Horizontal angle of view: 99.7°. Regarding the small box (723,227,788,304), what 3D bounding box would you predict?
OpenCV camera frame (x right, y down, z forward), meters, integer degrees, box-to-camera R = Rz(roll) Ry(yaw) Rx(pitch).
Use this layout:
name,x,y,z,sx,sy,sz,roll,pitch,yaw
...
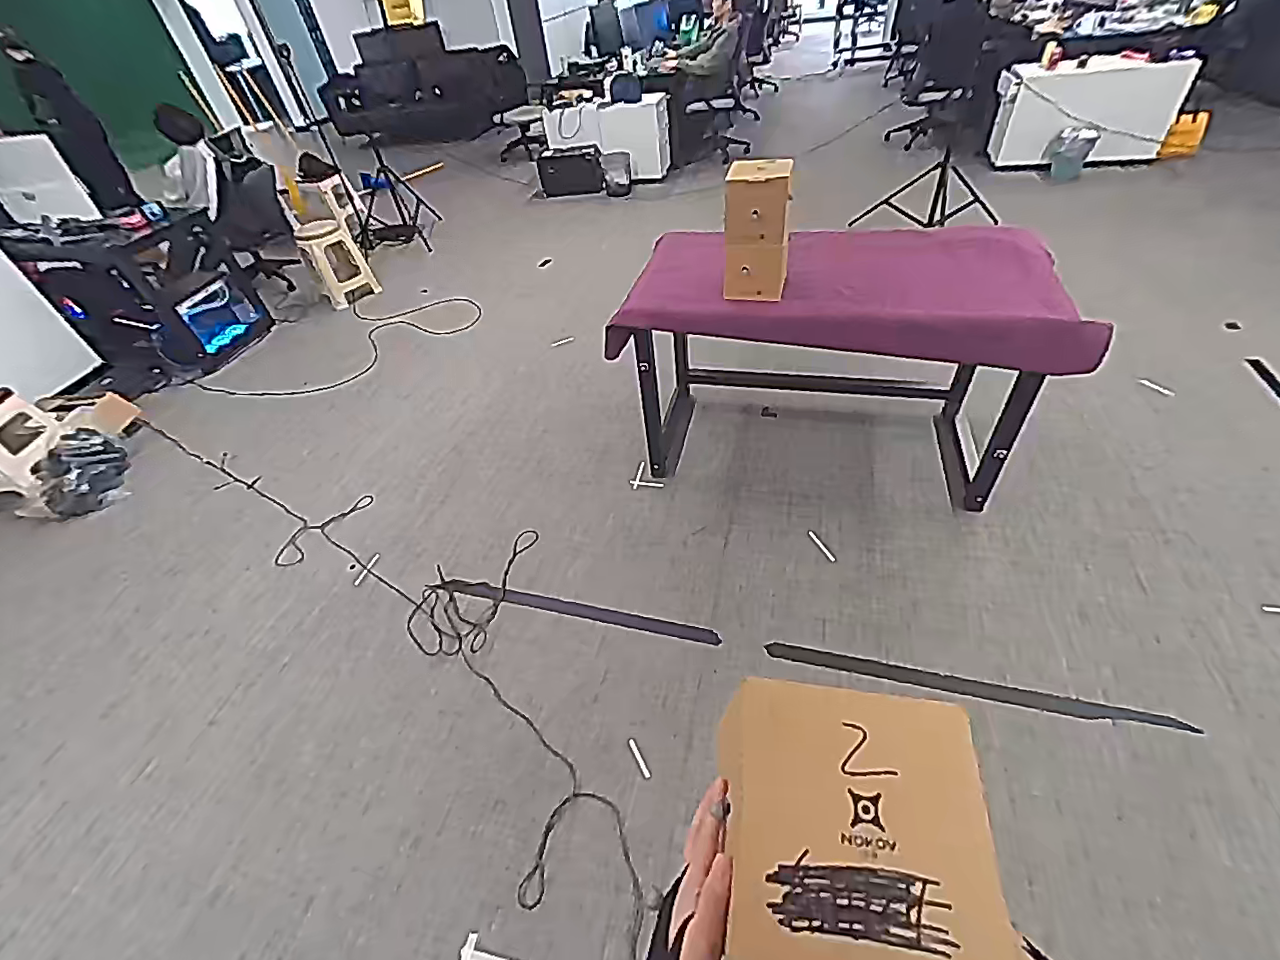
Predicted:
name,x,y,z,sx,sy,sz,roll,pitch,yaw
small box,0.346,-0.641,1.619,0.168,0.176,0.179,8,45,16

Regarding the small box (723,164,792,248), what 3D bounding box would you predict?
name,x,y,z,sx,sy,sz,roll,pitch,yaw
small box,0.328,-0.762,1.510,0.168,0.176,0.179,7,46,14
